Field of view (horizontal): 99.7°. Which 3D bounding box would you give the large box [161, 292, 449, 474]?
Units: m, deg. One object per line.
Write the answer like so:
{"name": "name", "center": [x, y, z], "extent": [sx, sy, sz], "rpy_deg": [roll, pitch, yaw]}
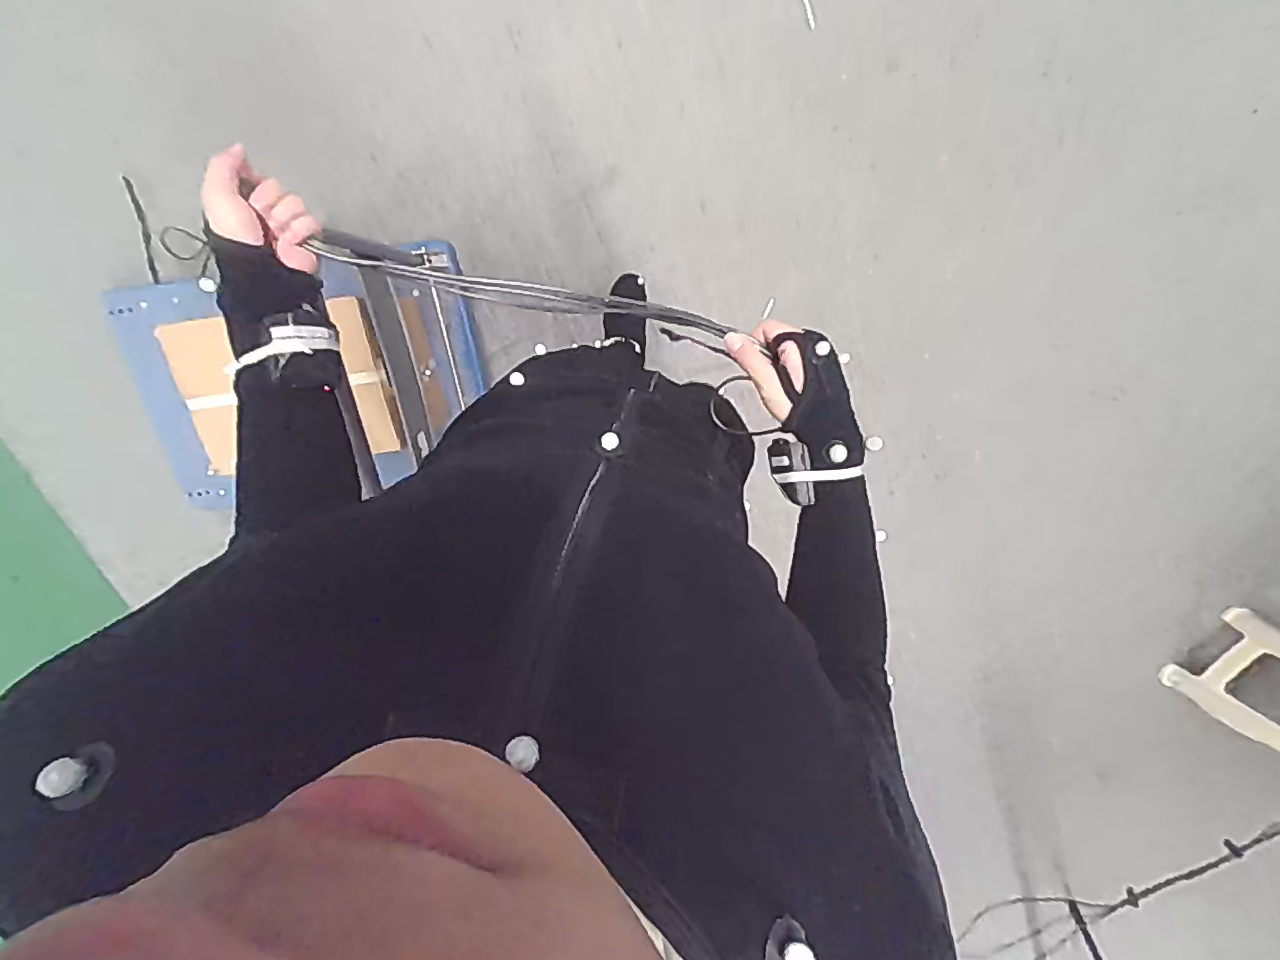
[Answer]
{"name": "large box", "center": [-0.707, -0.233, 1.219], "extent": [0.408, 0.320, 0.320], "rpy_deg": [-8, 108, 3]}
